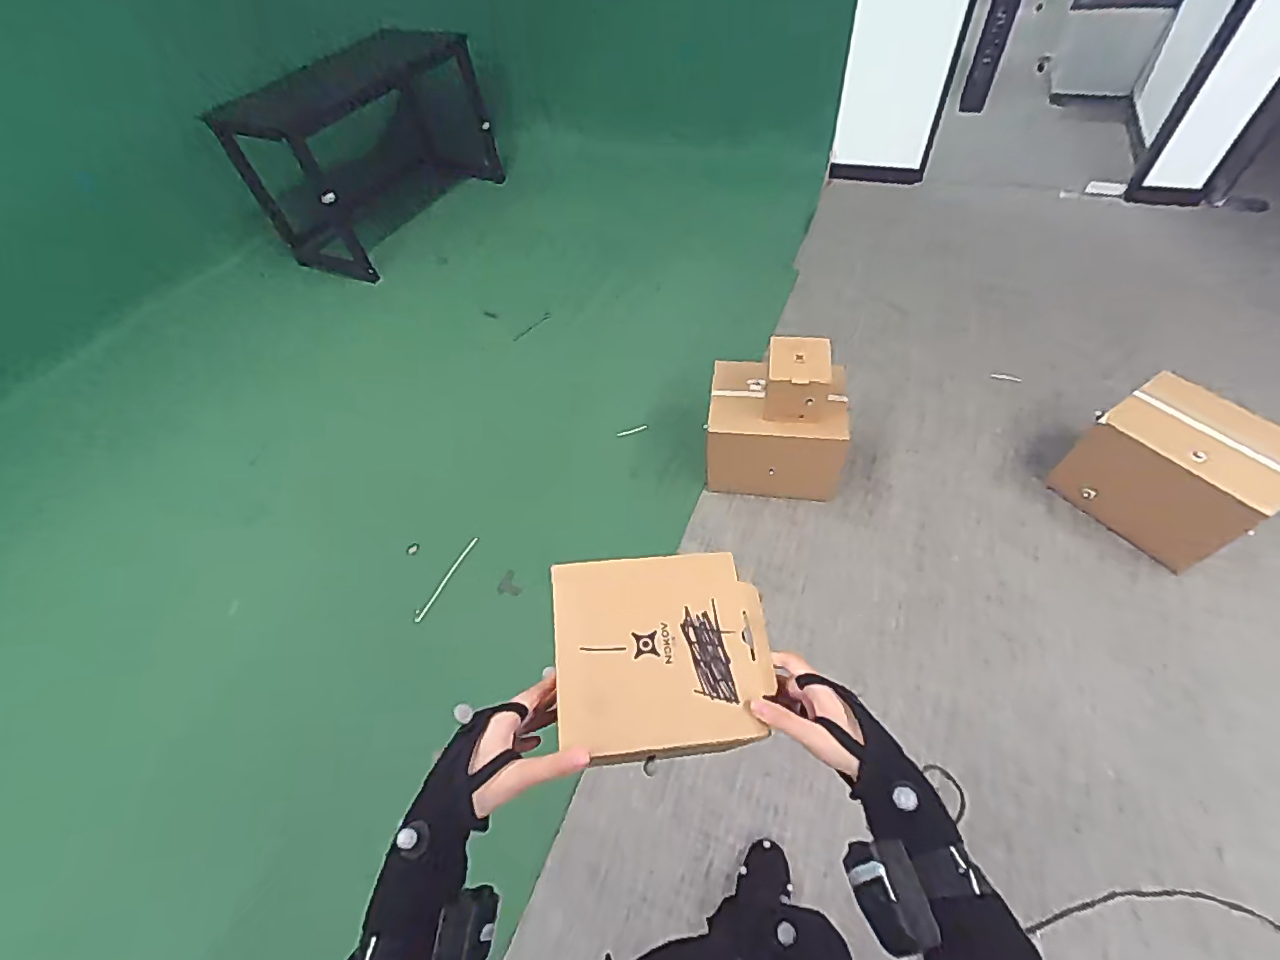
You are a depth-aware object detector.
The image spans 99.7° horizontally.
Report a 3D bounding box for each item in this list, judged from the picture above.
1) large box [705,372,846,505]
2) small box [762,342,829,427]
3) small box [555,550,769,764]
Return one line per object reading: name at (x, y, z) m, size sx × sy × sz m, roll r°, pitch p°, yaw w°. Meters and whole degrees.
large box at (0.426, -0.135, 1.756) m, size 0.408 × 0.320 × 0.320 m, roll 3°, pitch 52°, yaw 11°
small box at (0.441, -0.270, 1.547) m, size 0.168 × 0.176 × 0.179 m, roll 5°, pitch 54°, yaw 10°
small box at (0.006, 0.180, 0.539) m, size 0.179 × 0.176 × 0.168 m, roll -3°, pitch 59°, yaw -7°
